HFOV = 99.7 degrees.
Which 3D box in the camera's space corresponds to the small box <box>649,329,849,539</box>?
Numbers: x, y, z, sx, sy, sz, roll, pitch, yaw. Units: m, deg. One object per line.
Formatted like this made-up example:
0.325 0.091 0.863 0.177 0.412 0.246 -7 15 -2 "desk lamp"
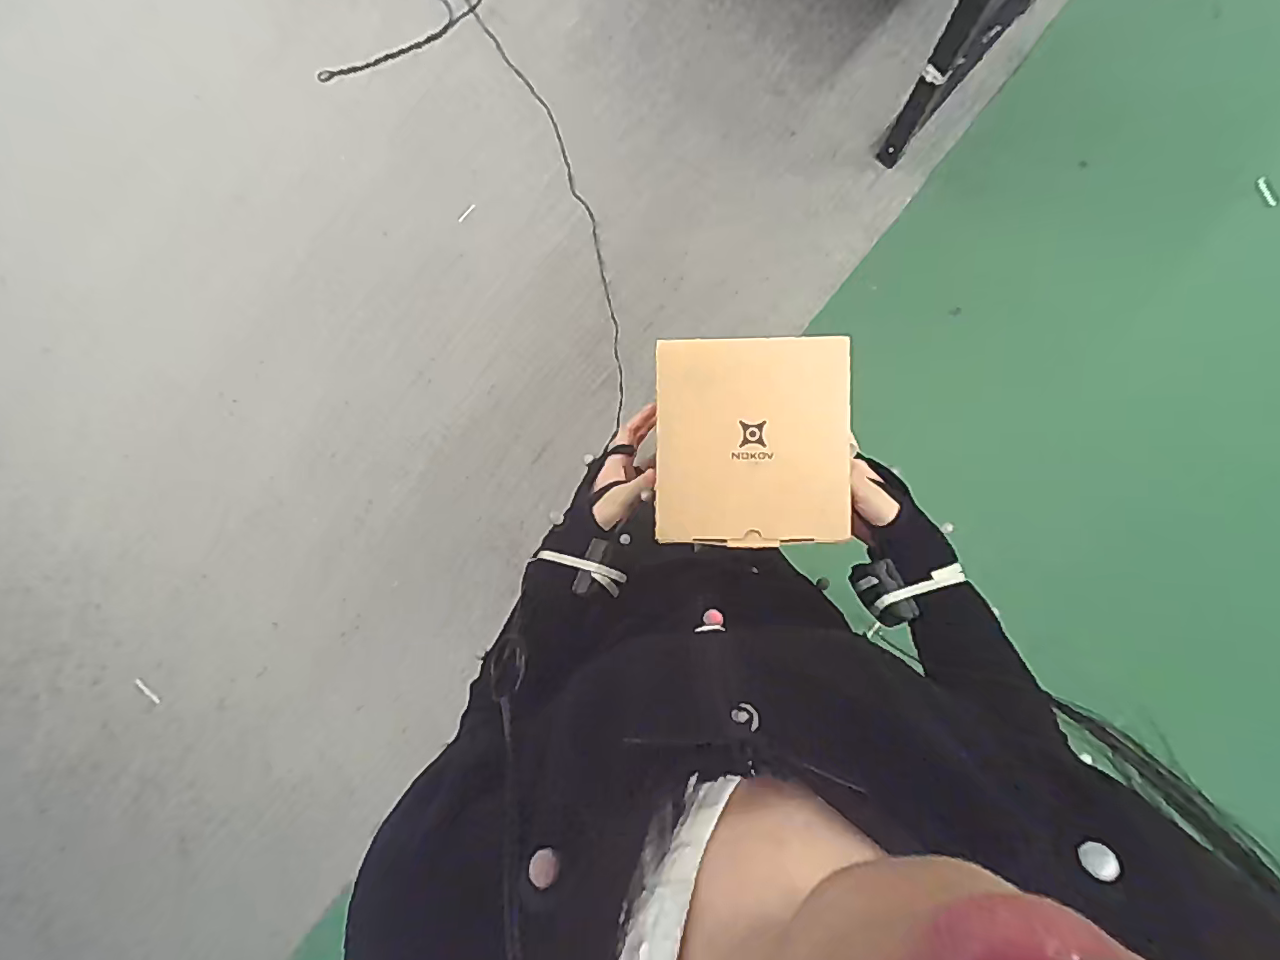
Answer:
0.092 -0.036 0.528 0.168 0.176 0.179 -1 90 2 "small box"
